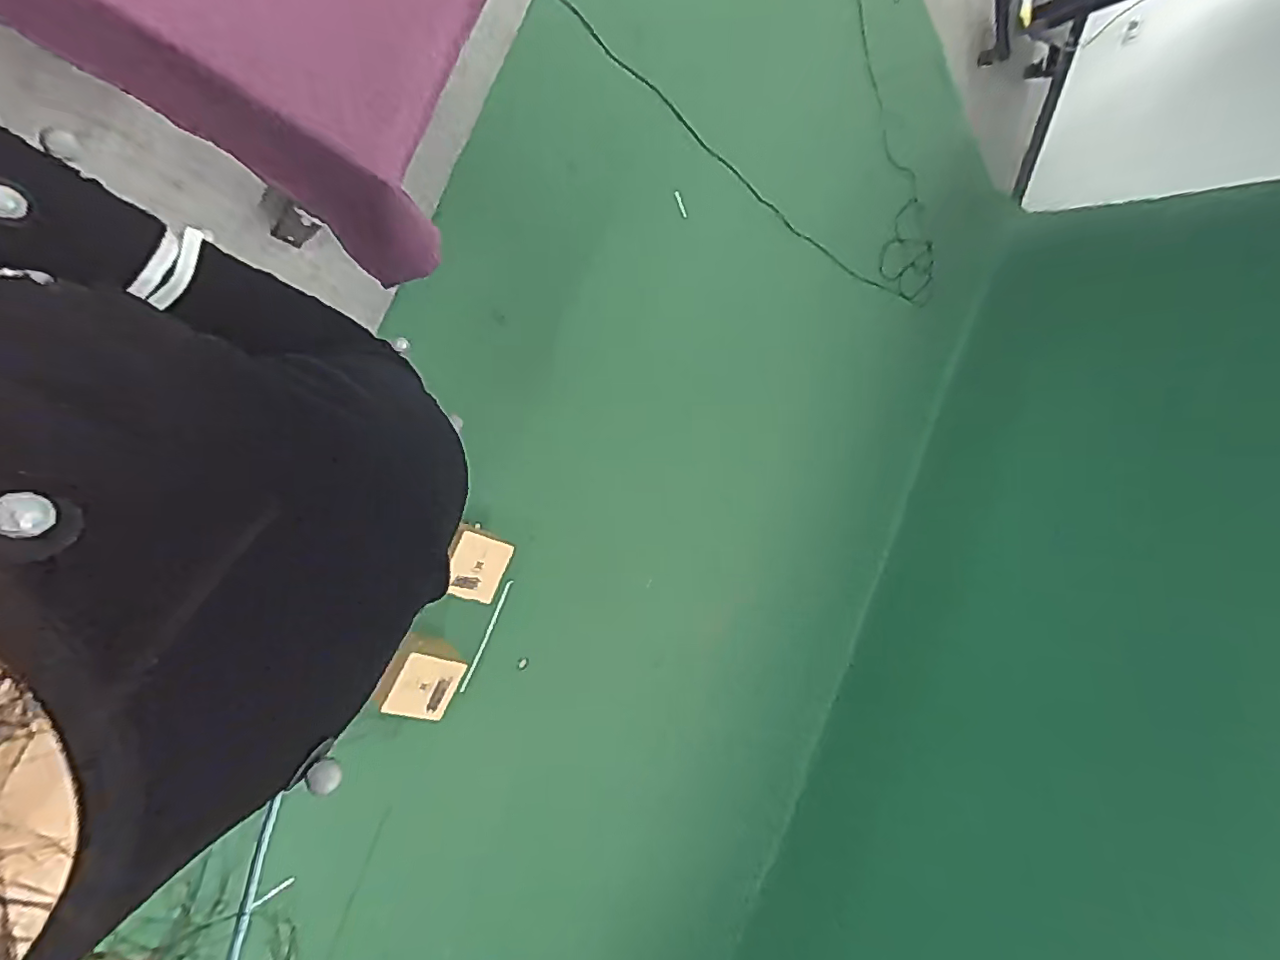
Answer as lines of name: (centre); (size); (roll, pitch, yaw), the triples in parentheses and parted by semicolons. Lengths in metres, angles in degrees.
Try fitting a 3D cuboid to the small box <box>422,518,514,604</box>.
small box: (-0.493, 0.227, 1.528); (0.168, 0.176, 0.179); (29, 81, -41)
